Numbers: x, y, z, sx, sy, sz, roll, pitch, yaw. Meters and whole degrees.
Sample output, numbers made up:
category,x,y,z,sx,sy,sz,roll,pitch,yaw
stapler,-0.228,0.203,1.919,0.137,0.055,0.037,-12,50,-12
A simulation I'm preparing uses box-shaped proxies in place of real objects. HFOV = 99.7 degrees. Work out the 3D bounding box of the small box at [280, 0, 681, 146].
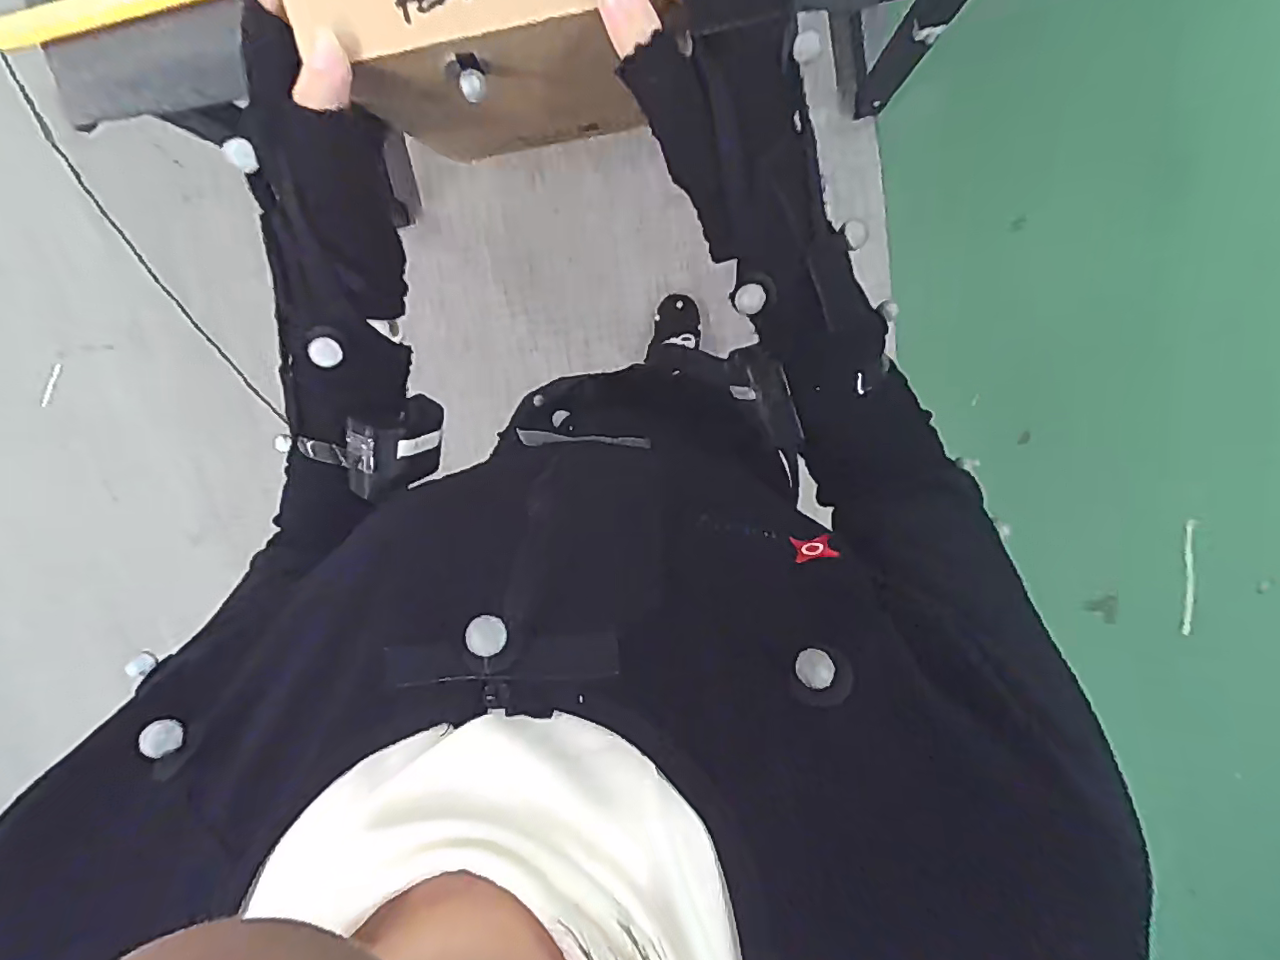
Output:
category,x,y,z,sx,sy,sz,roll,pitch,yaw
small box,-0.073,-0.299,0.268,0.168,0.176,0.179,-8,108,6
